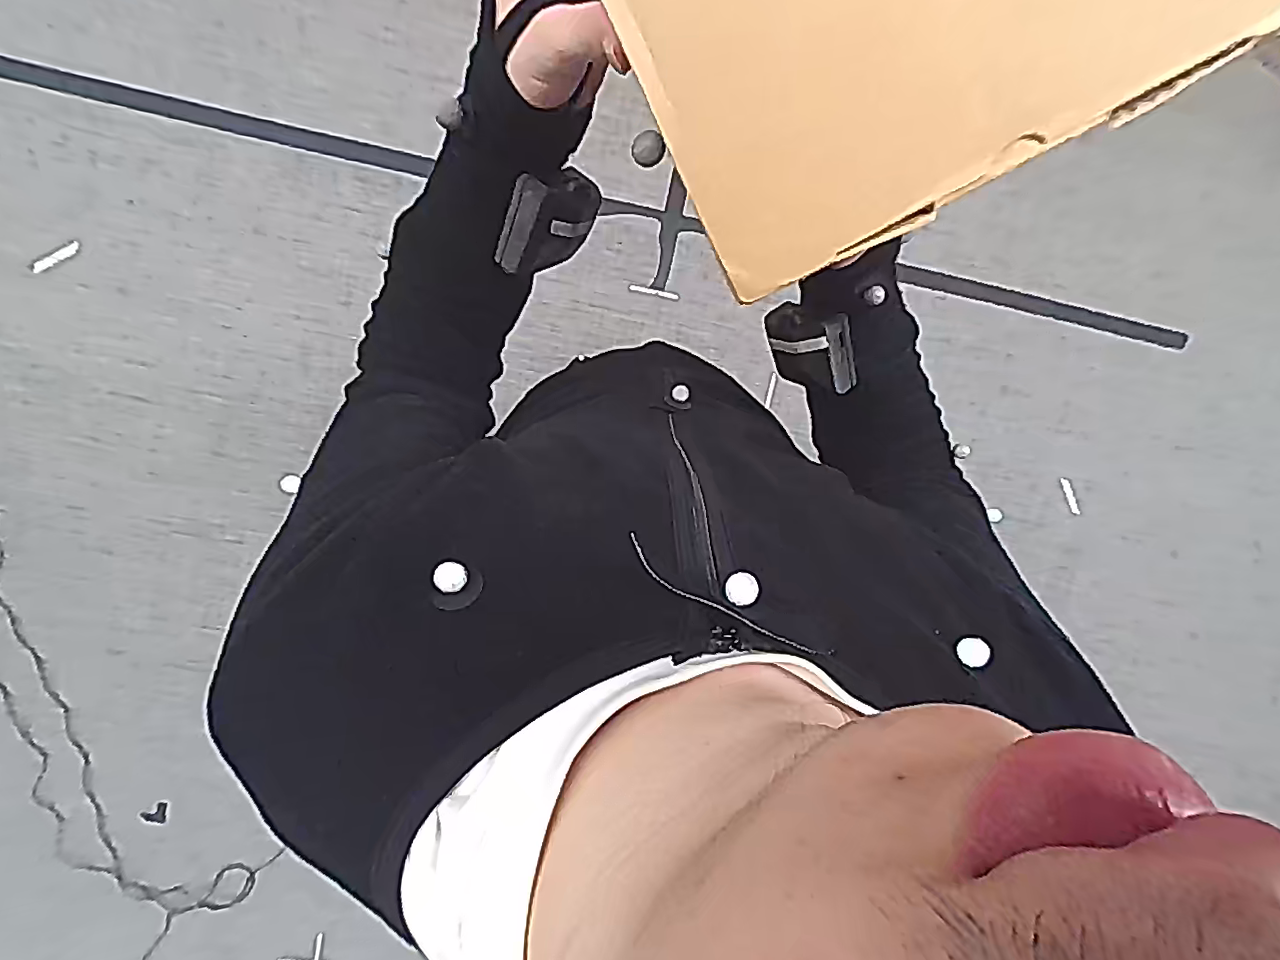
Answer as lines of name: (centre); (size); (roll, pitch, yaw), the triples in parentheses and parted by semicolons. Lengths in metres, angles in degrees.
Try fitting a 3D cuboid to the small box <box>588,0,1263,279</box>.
small box: (0.057, -0.205, 0.172); (0.168, 0.176, 0.179); (-25, 126, 19)
